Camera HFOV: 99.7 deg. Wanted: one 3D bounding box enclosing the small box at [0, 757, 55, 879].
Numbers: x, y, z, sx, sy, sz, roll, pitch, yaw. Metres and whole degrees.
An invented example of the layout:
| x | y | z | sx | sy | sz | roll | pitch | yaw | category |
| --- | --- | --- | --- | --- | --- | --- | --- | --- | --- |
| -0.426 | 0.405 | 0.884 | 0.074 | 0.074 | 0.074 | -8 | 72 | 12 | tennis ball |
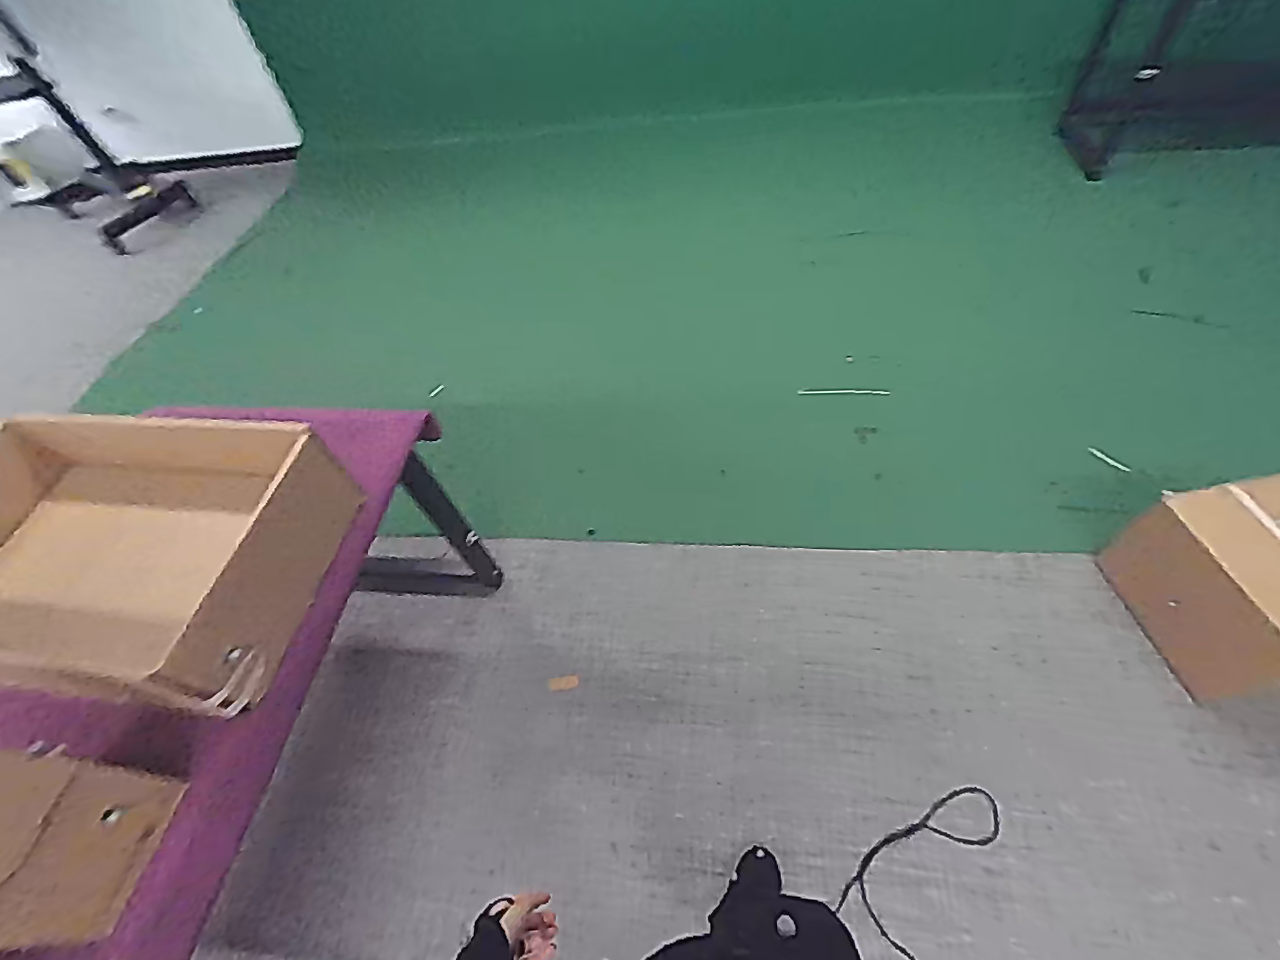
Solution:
| x | y | z | sx | sy | sz | roll | pitch | yaw | category |
| --- | --- | --- | --- | --- | --- | --- | --- | --- | --- |
| -0.721 | 0.338 | 0.496 | 0.168 | 0.176 | 0.179 | 1 | 53 | 10 | small box |

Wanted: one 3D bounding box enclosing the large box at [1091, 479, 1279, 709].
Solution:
| x | y | z | sx | sy | sz | roll | pitch | yaw | category |
| --- | --- | --- | --- | --- | --- | --- | --- | --- | --- |
| 1.412 | 0.268 | 1.273 | 0.320 | 0.320 | 0.408 | -10 | 51 | 0 | large box |
